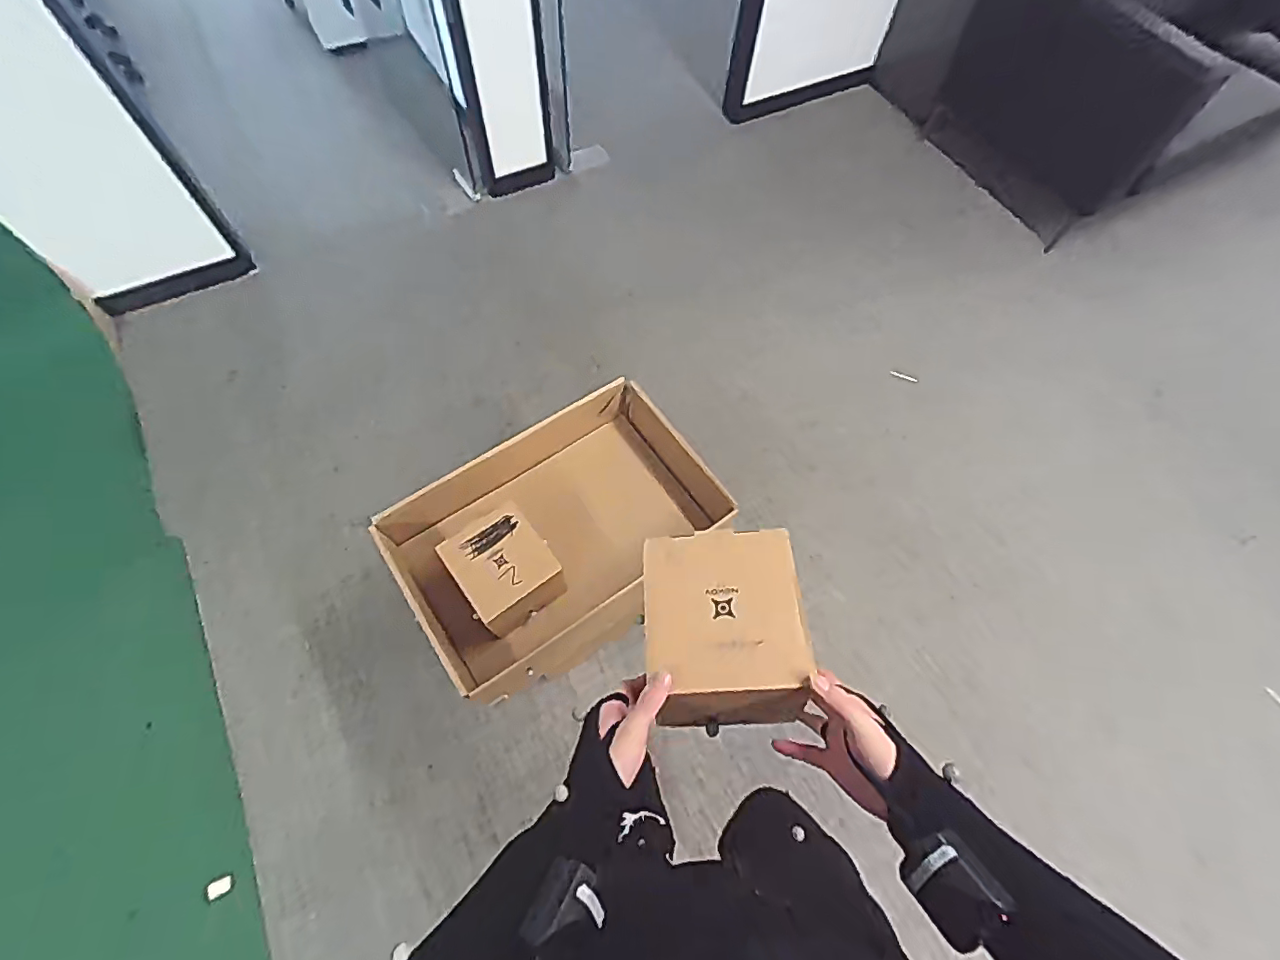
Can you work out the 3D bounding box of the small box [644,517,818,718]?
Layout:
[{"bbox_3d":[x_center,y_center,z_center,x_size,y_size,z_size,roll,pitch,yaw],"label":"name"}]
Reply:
[{"bbox_3d":[0.091,0.161,0.620,0.168,0.176,0.179,-4,56,4],"label":"small box"}]
